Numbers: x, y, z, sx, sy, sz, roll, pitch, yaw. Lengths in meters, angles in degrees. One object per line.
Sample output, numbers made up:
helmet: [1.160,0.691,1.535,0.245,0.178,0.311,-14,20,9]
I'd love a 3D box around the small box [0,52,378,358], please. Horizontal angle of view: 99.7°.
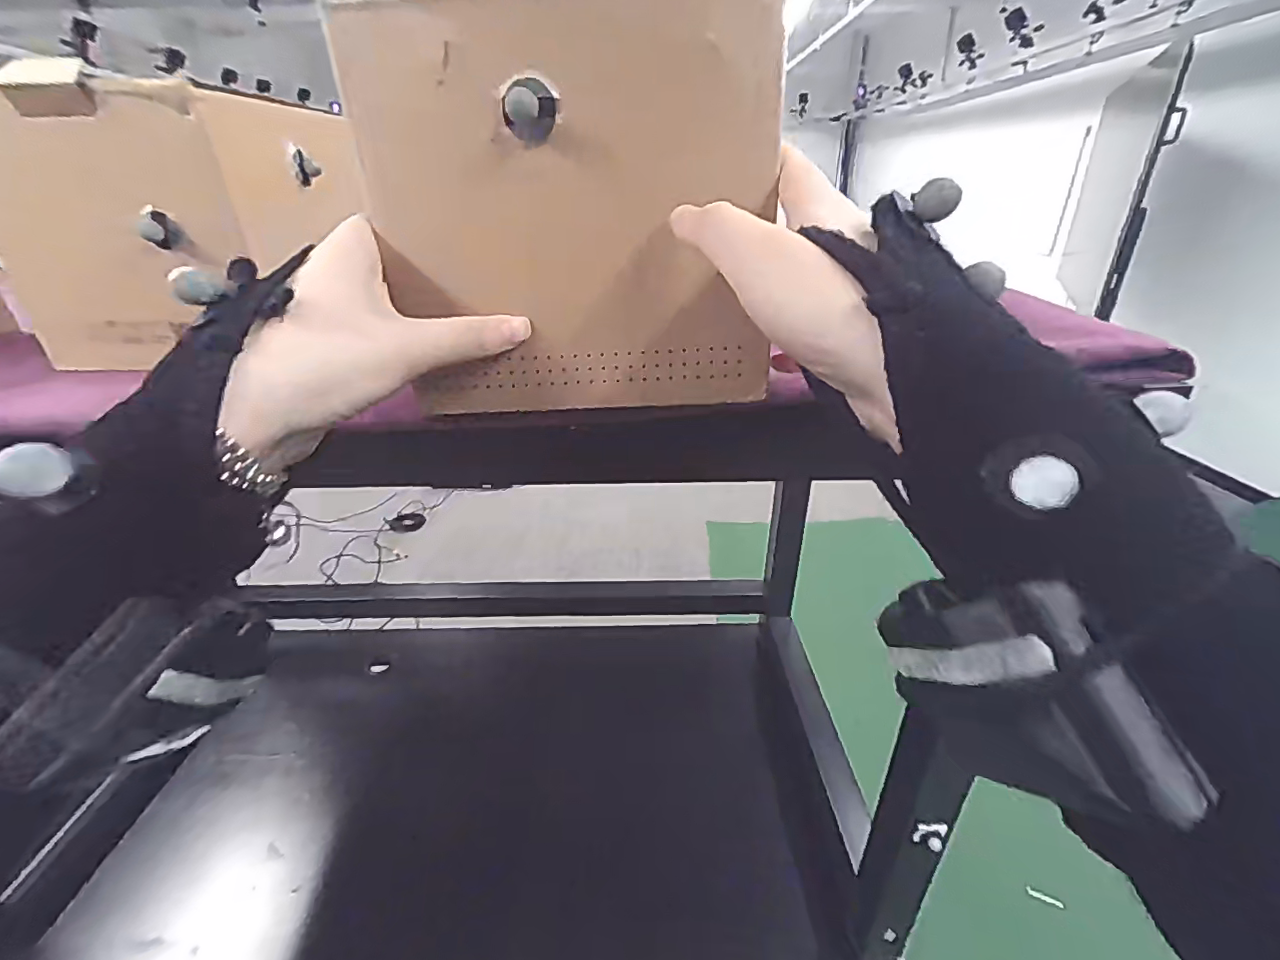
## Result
small box: [-0.321,-0.192,0.402,0.168,0.176,0.179,1,27,1]

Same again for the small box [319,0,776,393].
small box: [-0.026,-0.148,0.292,0.179,0.176,0.168,-1,26,4]
